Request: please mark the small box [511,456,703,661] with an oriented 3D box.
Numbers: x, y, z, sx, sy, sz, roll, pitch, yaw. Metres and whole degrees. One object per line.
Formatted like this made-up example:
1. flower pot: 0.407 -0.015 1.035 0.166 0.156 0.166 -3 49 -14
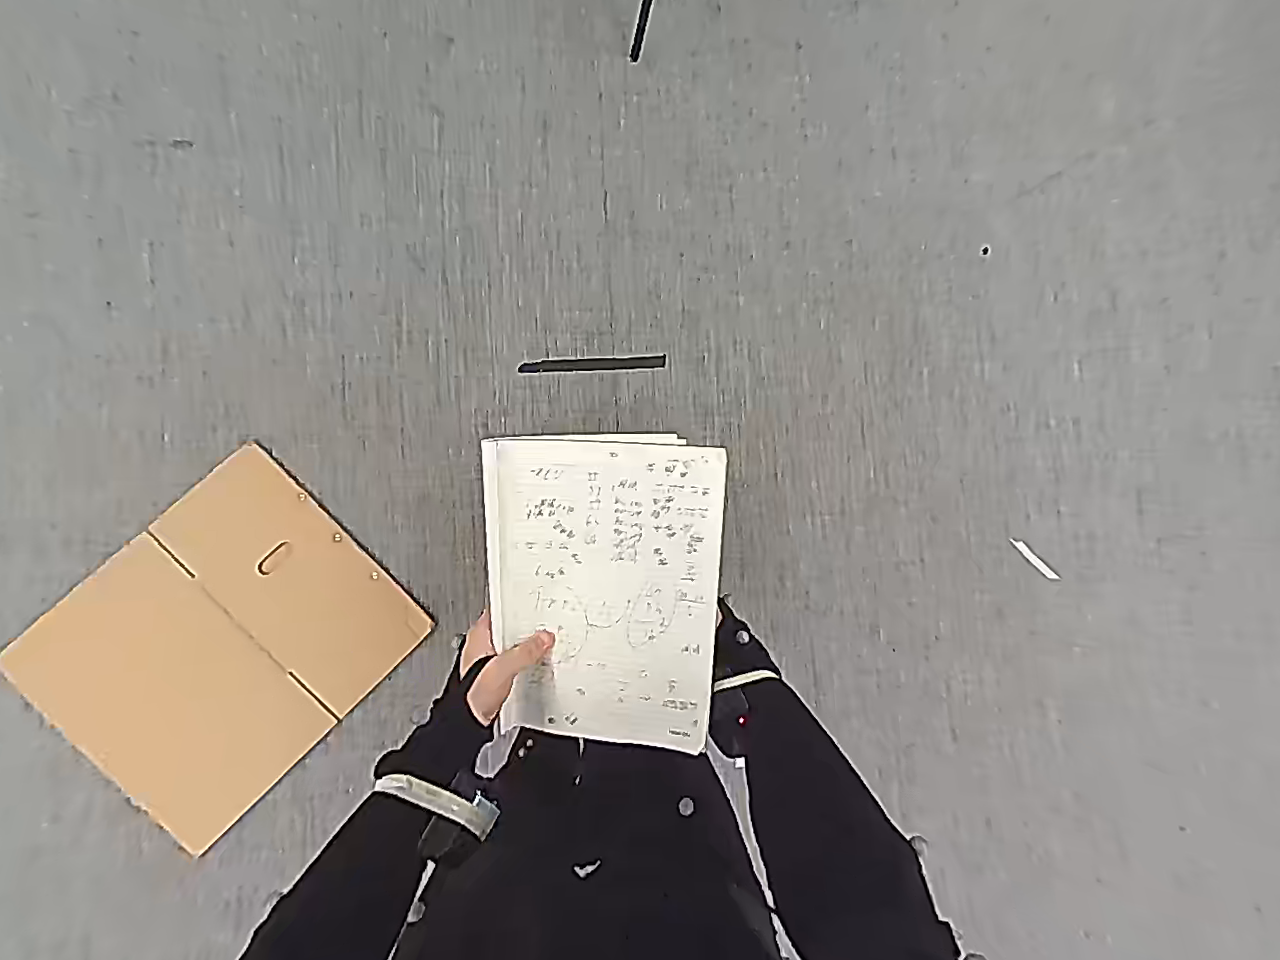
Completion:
1. small box: -0.039 0.080 0.591 0.168 0.176 0.179 -9 85 -6
